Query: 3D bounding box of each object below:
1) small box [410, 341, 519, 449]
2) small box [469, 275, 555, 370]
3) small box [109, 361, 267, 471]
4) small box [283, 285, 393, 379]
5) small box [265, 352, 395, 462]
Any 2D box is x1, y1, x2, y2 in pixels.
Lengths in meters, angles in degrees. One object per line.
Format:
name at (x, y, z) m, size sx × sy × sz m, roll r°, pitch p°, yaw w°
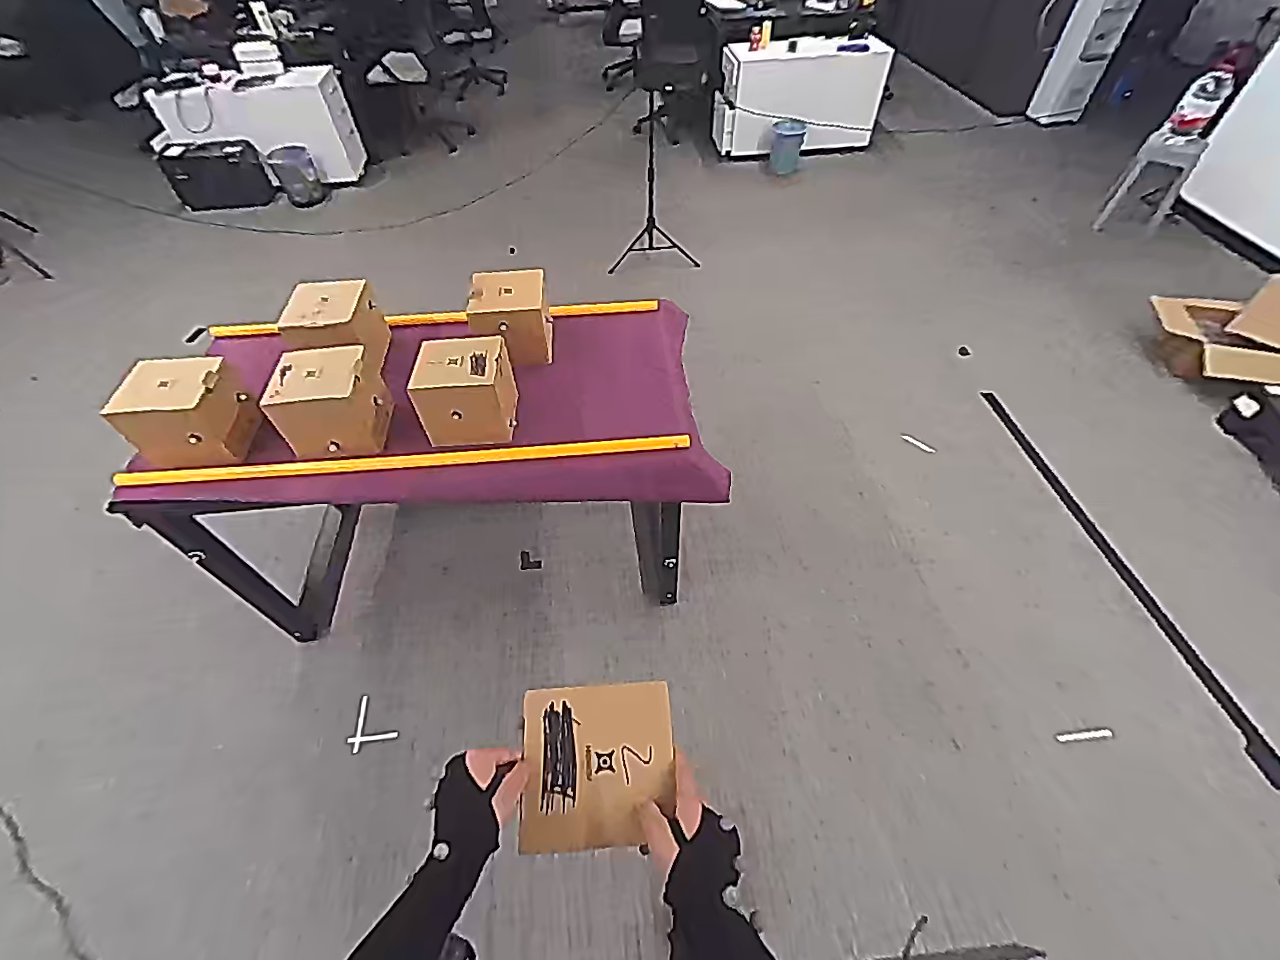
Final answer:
small box at (-0.372, -0.183, 1.186) m, size 0.179 × 0.176 × 0.168 m, roll -4°, pitch 49°, yaw 0°
small box at (-0.311, -0.390, 1.355) m, size 0.179 × 0.176 × 0.168 m, roll -5°, pitch 52°, yaw -1°
small box at (-0.950, -0.135, 1.161) m, size 0.179 × 0.176 × 0.168 m, roll -4°, pitch 50°, yaw -4°
small box at (-0.733, -0.357, 1.339) m, size 0.168 × 0.176 × 0.179 m, roll -5°, pitch 53°, yaw -2°
small box at (-0.656, -0.156, 1.173) m, size 0.179 × 0.176 × 0.168 m, roll -5°, pitch 51°, yaw -3°
